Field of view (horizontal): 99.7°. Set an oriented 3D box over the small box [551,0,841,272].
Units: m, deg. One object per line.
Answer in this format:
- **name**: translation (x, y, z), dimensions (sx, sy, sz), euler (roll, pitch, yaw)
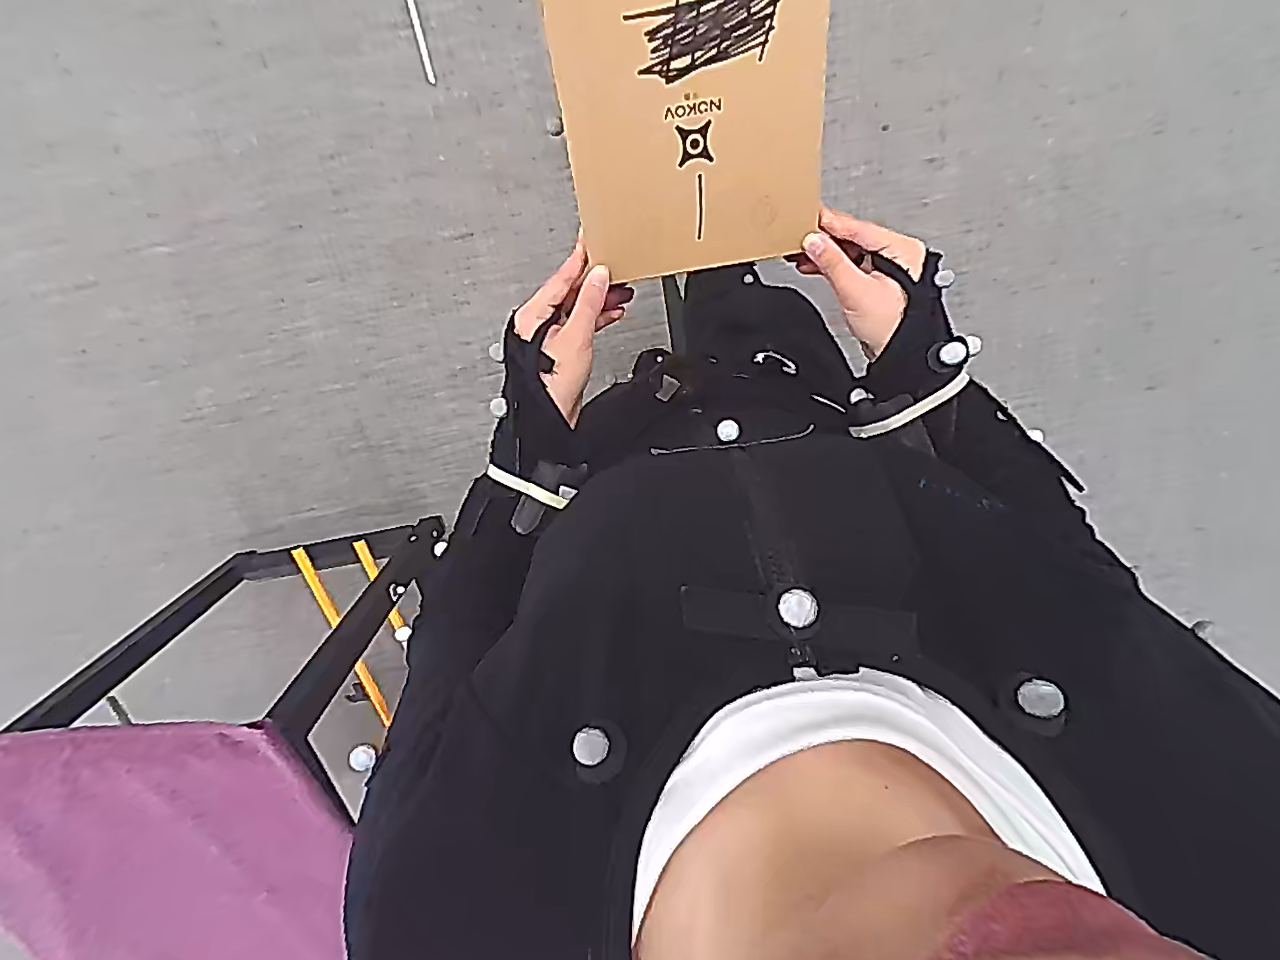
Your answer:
- **small box**: translation (0.031, -0.272, 0.396), dimensions (0.168, 0.176, 0.179), euler (-9, 124, 1)
